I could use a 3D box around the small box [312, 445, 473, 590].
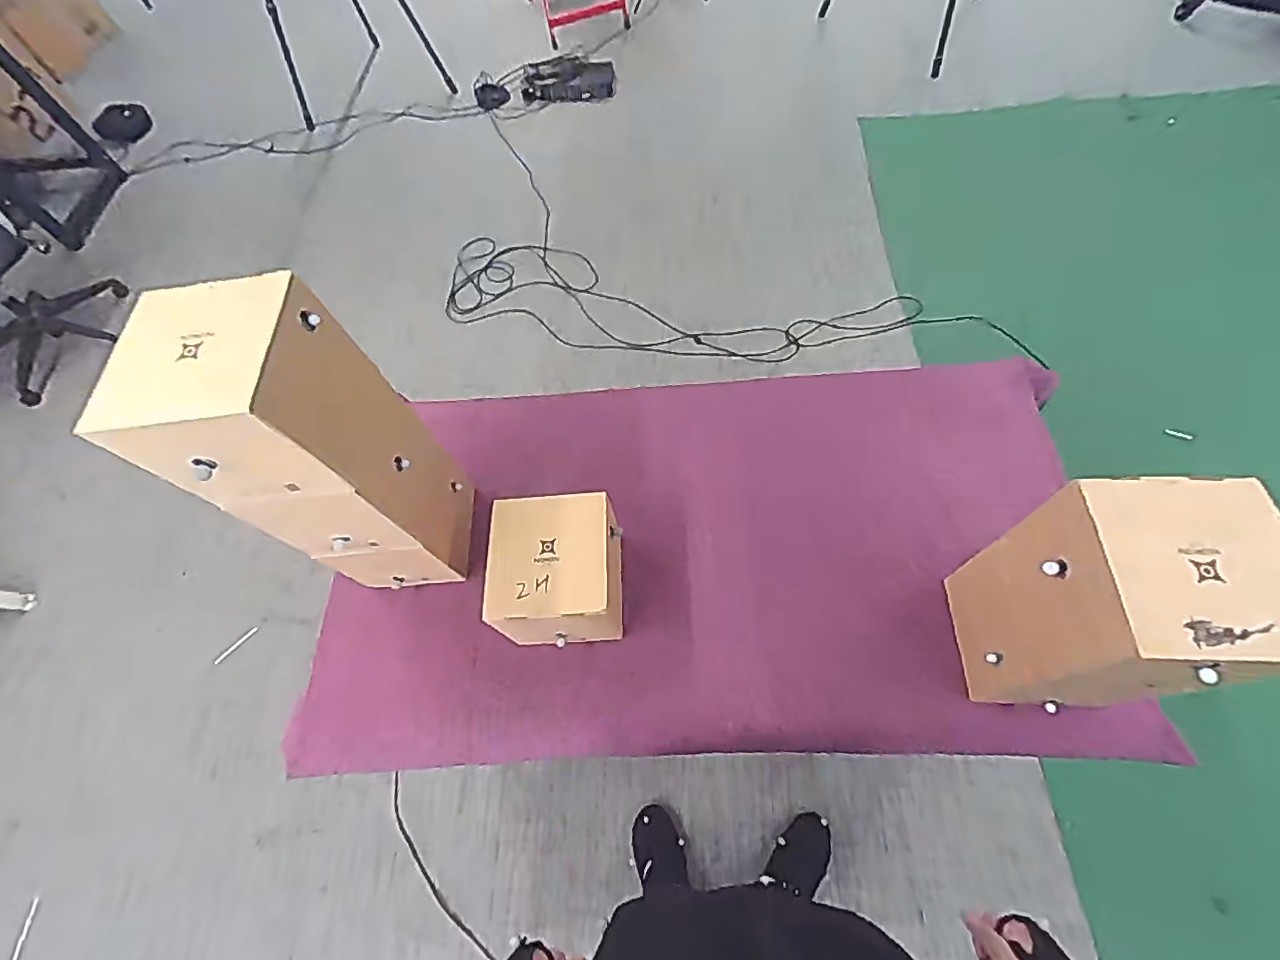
[{"bbox_3d":[-0.381,0.065,0.871,0.168,0.176,0.179,-5,63,4],"label":"small box"}]

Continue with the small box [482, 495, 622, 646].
[{"bbox_3d":[-0.119,0.139,0.803,0.168,0.176,0.179,-4,62,4],"label":"small box"}]

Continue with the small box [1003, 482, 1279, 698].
[{"bbox_3d":[0.513,0.117,0.558,0.168,0.176,0.179,0,61,8],"label":"small box"}]

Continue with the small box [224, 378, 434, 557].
[{"bbox_3d":[-0.396,-0.011,0.727,0.168,0.176,0.179,-6,63,4],"label":"small box"}]

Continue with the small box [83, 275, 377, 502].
[{"bbox_3d":[-0.412,-0.085,0.583,0.168,0.176,0.179,-6,62,4],"label":"small box"}]
